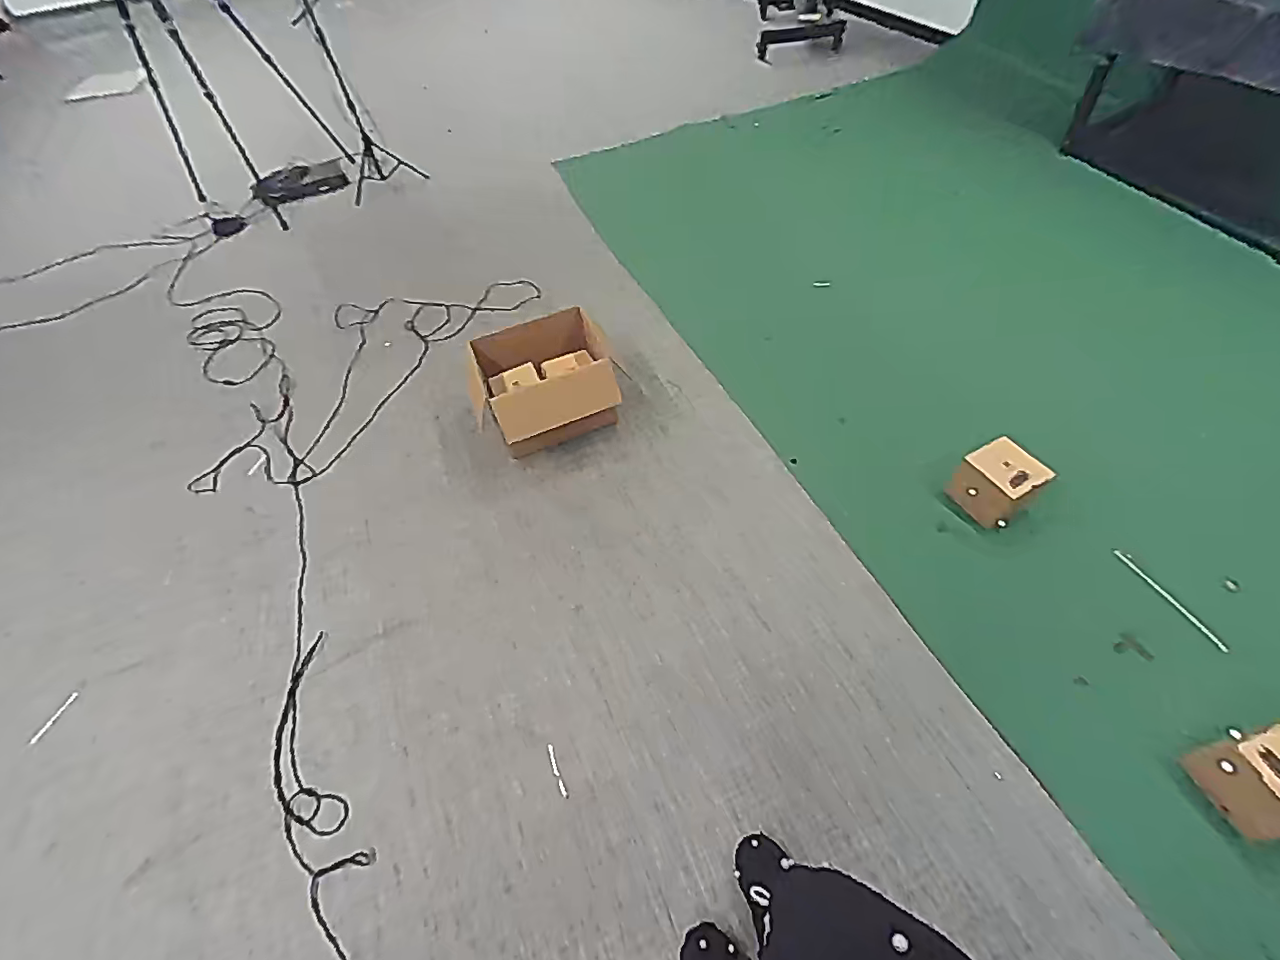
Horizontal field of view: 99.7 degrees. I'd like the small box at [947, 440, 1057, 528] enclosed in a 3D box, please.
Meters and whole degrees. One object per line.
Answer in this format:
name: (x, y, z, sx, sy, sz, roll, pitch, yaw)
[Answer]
small box: (1.062, 0.019, 1.601, 0.168, 0.176, 0.179, -24, 54, -13)
